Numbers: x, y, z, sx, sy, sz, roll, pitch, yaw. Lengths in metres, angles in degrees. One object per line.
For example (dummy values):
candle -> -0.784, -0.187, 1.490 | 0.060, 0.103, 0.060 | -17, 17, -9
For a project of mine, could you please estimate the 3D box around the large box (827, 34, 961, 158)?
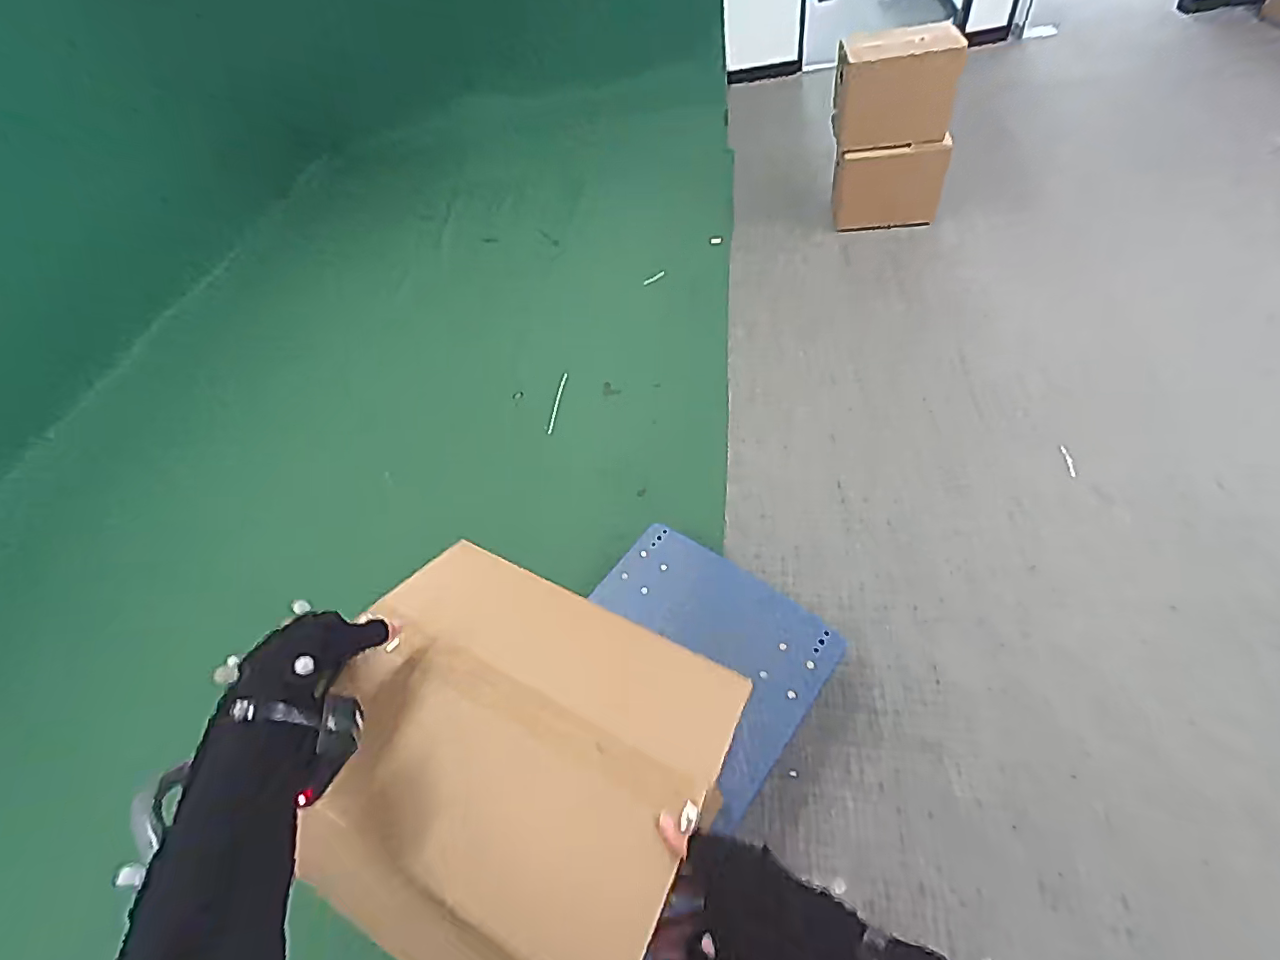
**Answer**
large box -> 0.992, -1.535, 2.169 | 0.408, 0.320, 0.320 | 0, 51, 11
